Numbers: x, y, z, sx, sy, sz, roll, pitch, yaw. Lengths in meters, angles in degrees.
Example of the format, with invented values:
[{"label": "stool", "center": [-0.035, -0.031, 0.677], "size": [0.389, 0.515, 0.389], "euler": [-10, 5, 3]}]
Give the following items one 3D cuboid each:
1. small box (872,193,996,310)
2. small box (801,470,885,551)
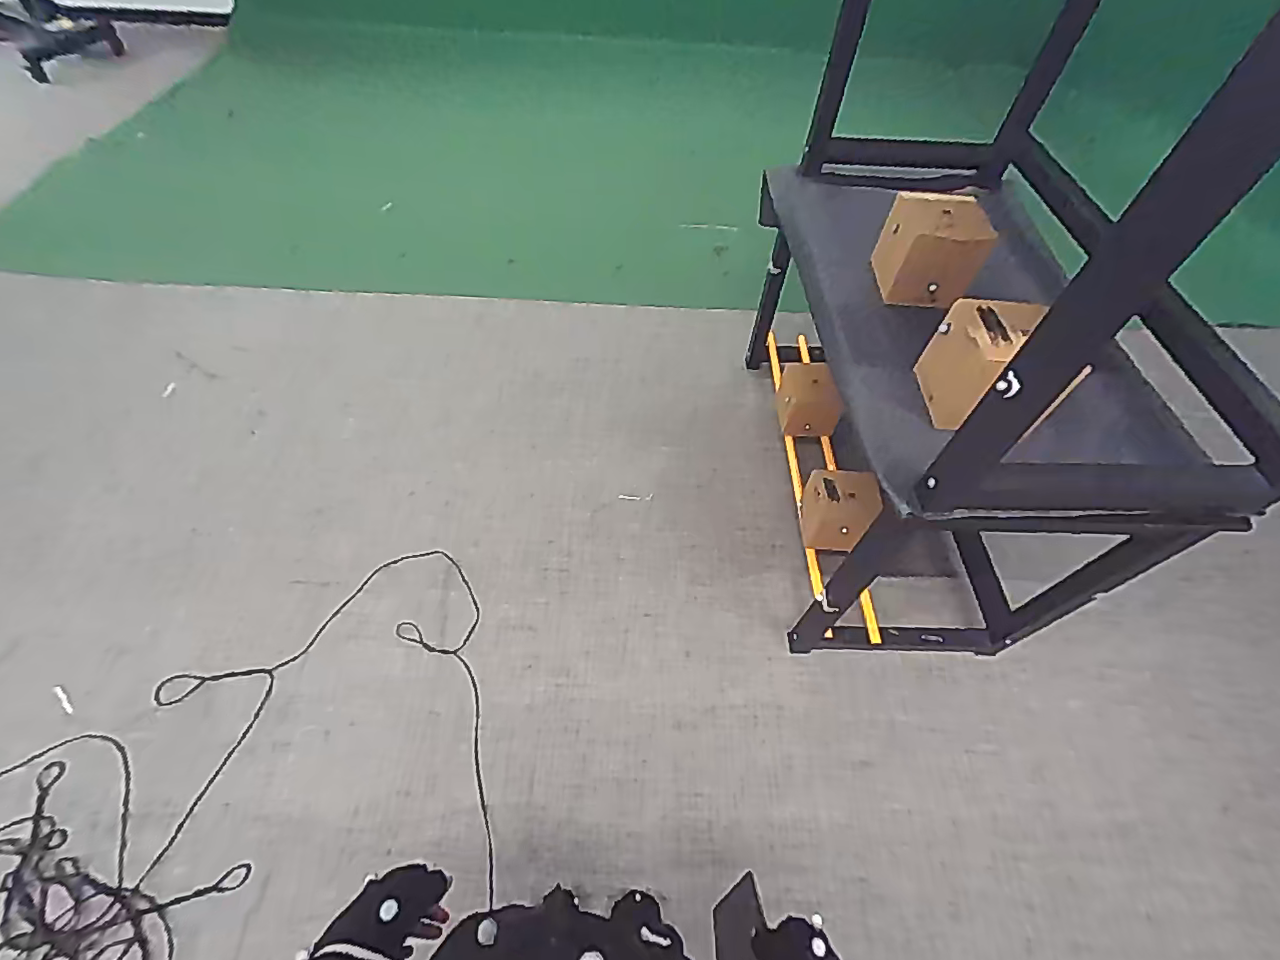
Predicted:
[{"label": "small box", "center": [0.638, -0.506, 1.200], "size": [0.168, 0.176, 0.179], "euler": [4, 54, 0]}, {"label": "small box", "center": [0.565, 0.089, 1.537], "size": [0.179, 0.176, 0.168], "euler": [4, 54, 1]}]
